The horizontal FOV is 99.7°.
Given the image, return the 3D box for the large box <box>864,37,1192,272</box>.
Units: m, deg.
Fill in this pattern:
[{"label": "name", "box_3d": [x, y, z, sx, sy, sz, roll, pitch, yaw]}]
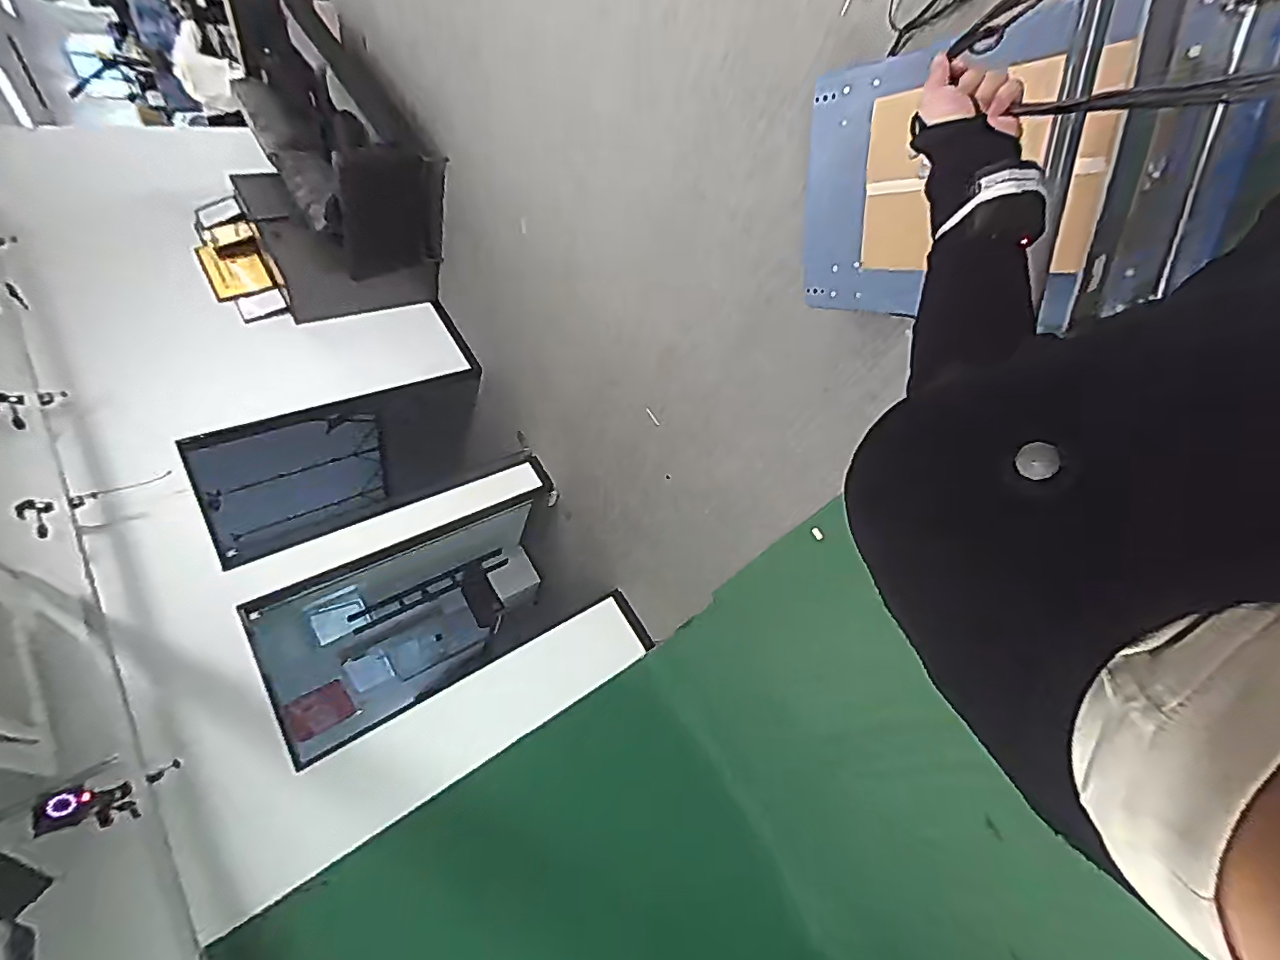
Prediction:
[{"label": "large box", "box_3d": [0.708, -0.585, 1.036, 0.408, 0.320, 0.320, 26, 130, 48]}]
